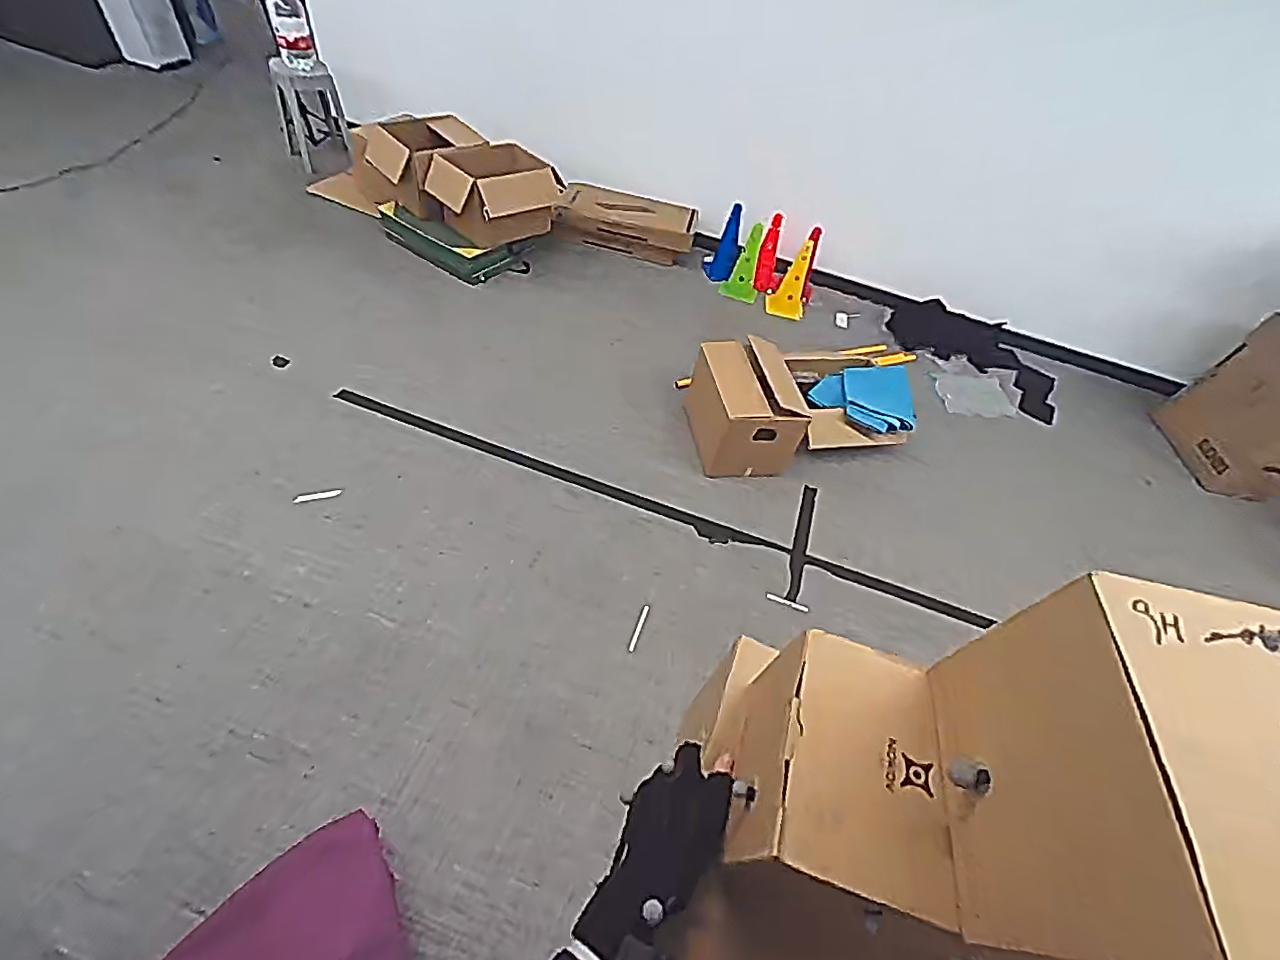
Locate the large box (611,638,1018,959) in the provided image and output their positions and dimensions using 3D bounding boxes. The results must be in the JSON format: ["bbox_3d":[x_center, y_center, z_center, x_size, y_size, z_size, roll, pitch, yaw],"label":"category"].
[{"bbox_3d":[0.216,0.443,0.612,0.408,0.320,0.320,22,54,8],"label":"large box"}]

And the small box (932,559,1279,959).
[{"bbox_3d":[0.301,0.175,0.314,0.168,0.176,0.179,13,53,1],"label":"small box"}]

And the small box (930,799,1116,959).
[{"bbox_3d":[0.367,0.302,0.433,0.168,0.176,0.179,32,54,16],"label":"small box"}]
